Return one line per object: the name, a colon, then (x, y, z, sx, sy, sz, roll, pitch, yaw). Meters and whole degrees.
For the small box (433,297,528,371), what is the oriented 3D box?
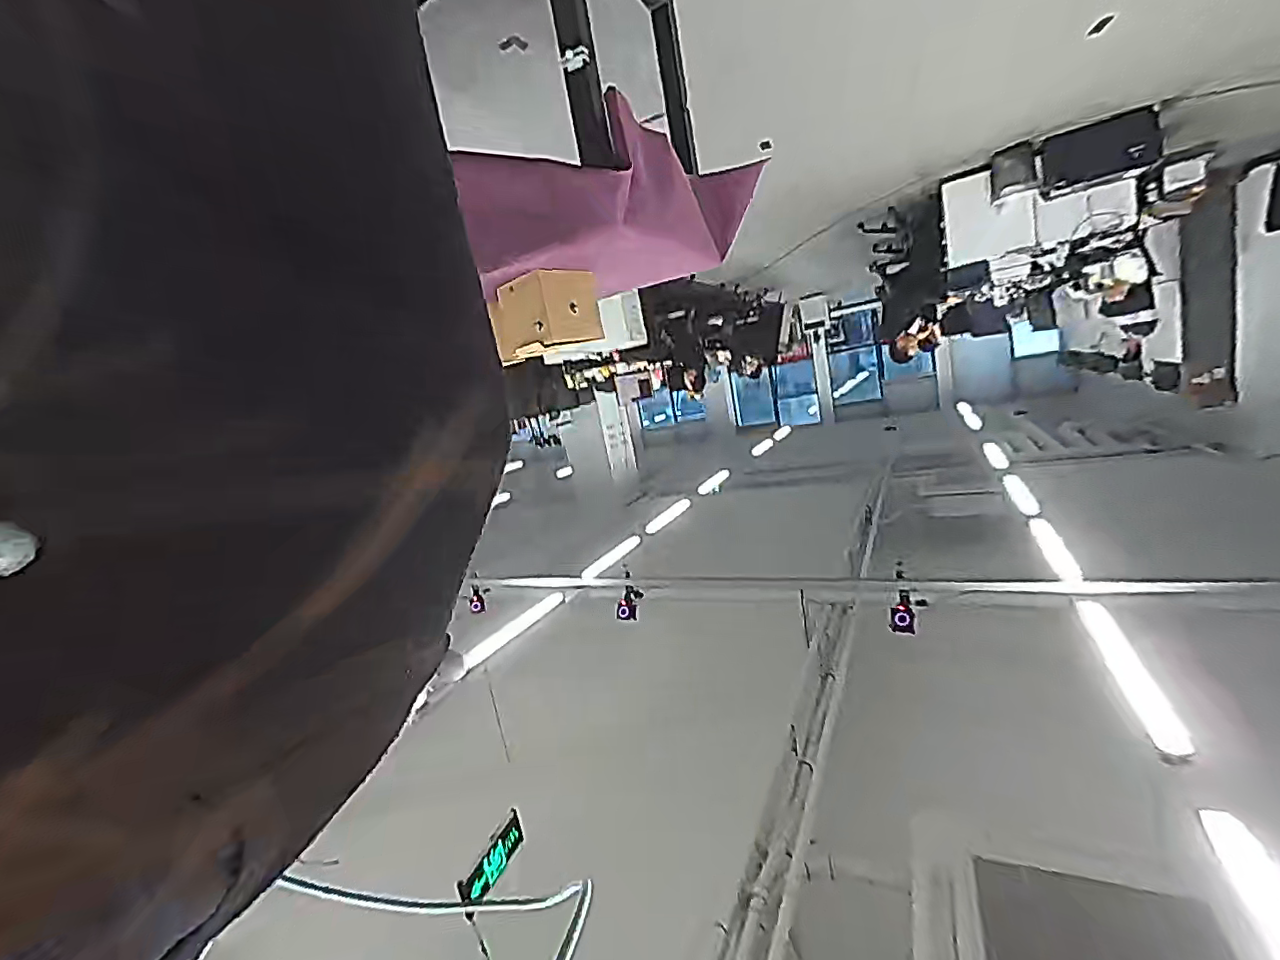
small box: (-0.446, -0.407, 1.502, 0.168, 0.176, 0.179, -3, -167, 36)
